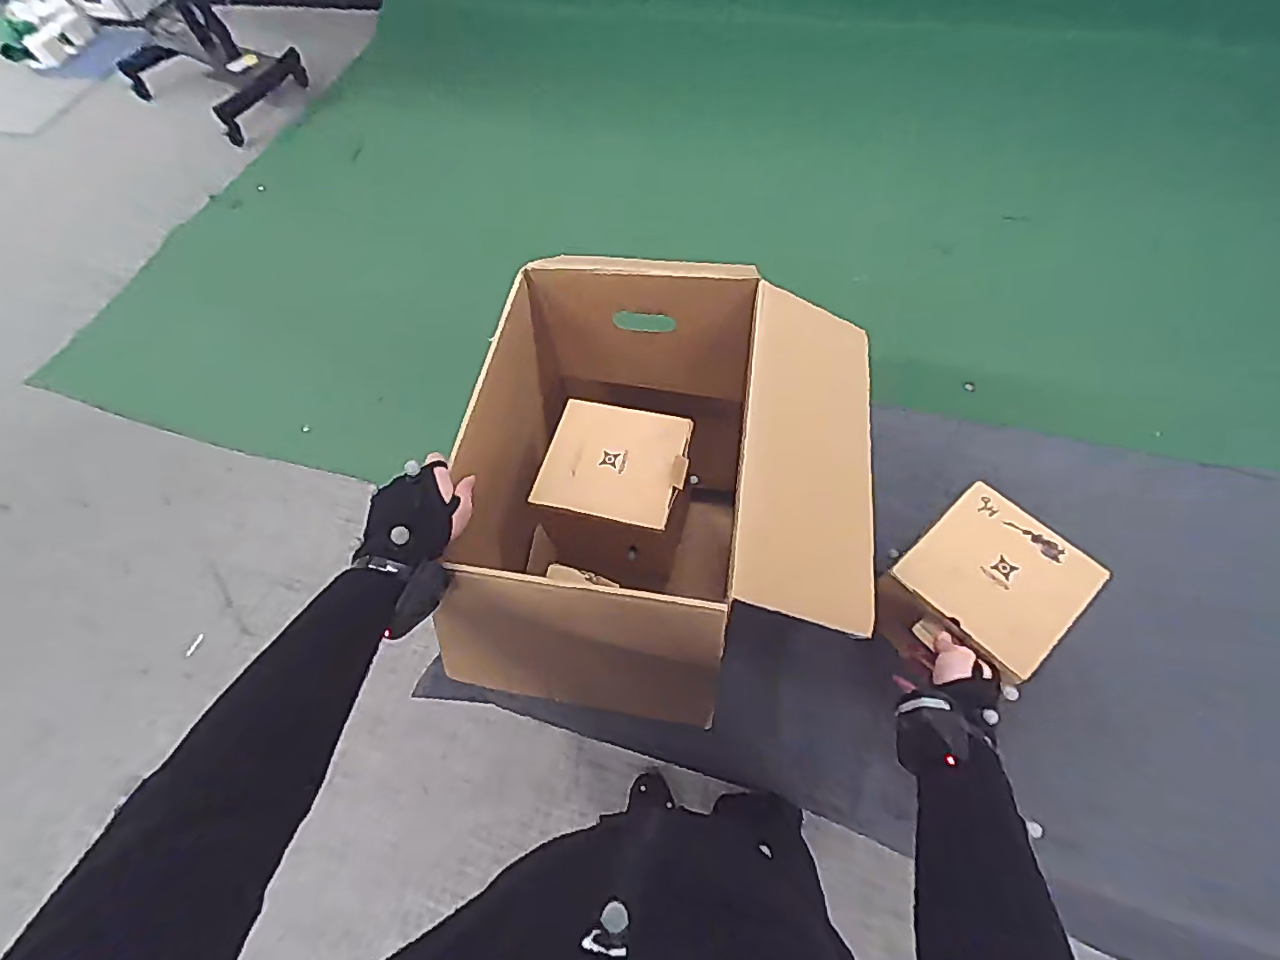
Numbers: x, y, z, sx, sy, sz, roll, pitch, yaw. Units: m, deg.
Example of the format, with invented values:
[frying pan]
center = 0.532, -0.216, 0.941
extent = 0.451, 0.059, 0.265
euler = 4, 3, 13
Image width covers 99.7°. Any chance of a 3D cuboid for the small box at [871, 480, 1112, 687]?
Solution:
[small box]
center = 0.420, 0.139, 0.686
extent = 0.179, 0.176, 0.168
euler = -38, 64, -11
